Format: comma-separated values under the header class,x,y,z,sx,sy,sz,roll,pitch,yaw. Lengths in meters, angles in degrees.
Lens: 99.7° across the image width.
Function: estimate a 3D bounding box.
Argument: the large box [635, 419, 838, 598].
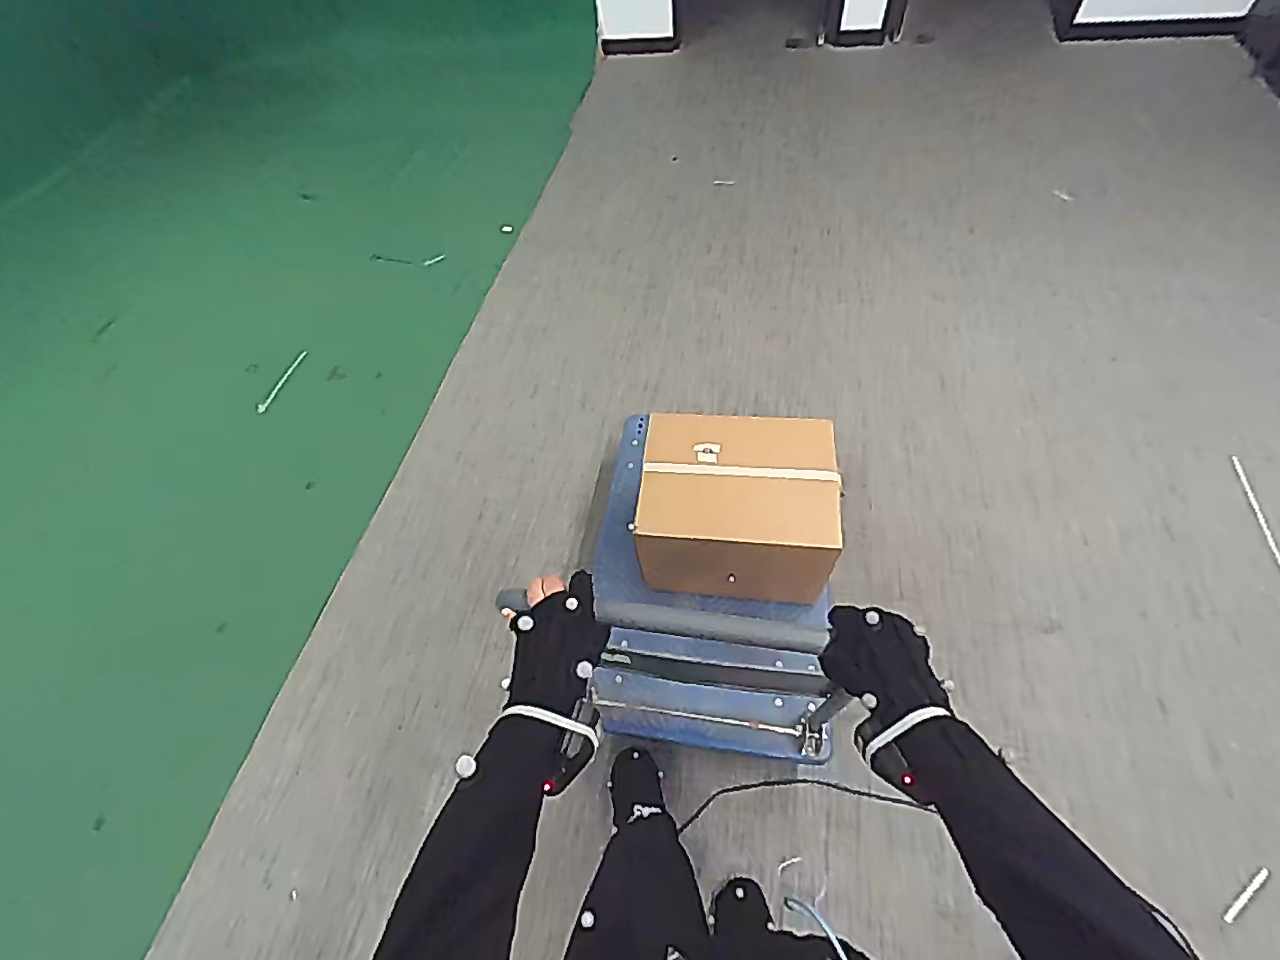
class,x,y,z,sx,sy,sz,roll,pitch,yaw
large box,0.222,0.072,1.265,0.408,0.320,0.320,2,58,10
